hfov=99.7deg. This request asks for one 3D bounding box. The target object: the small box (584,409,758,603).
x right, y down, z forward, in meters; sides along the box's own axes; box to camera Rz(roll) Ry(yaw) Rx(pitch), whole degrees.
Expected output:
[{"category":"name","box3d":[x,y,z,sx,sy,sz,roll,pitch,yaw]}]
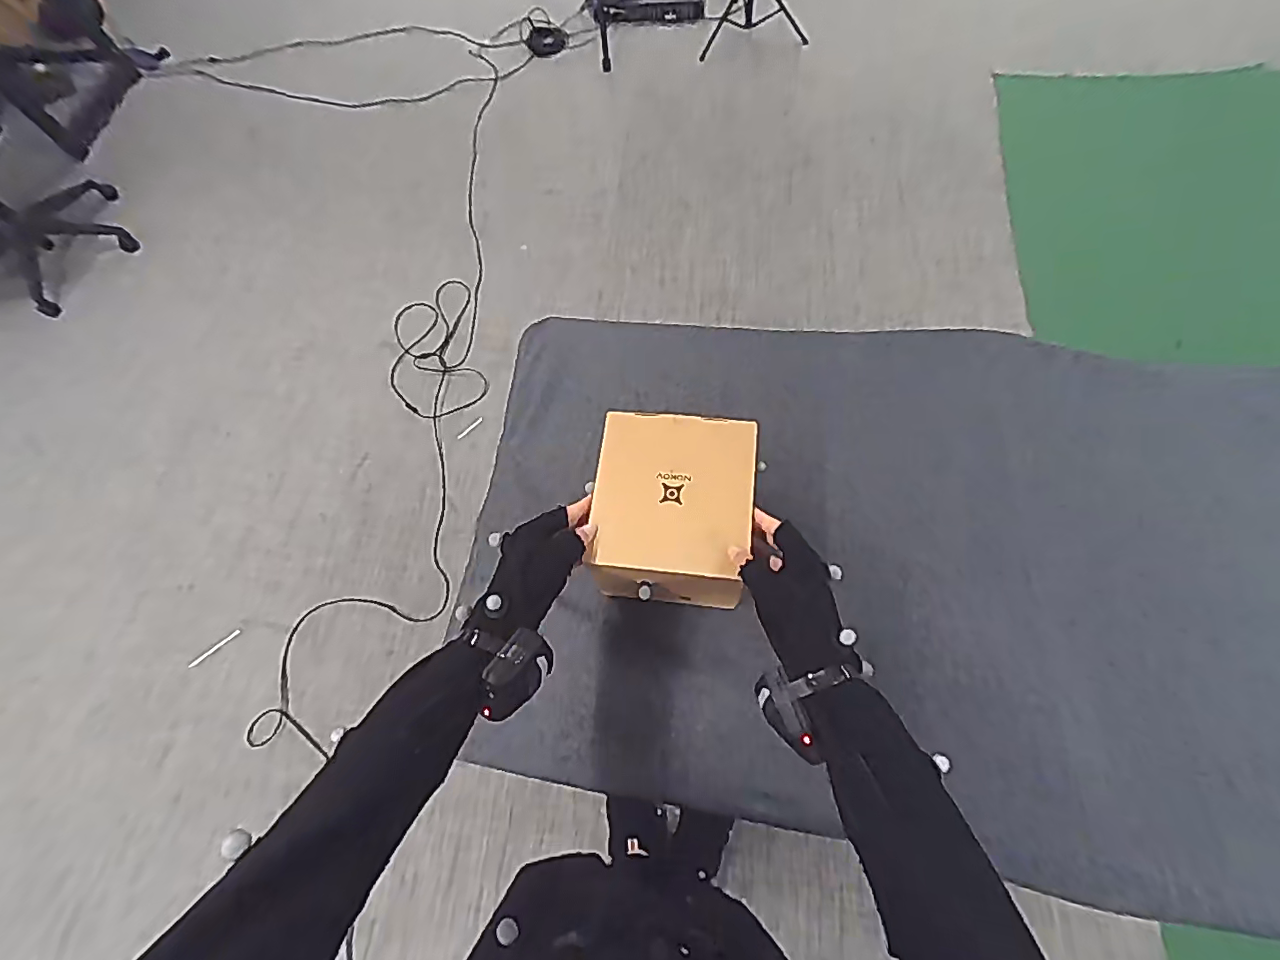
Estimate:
[{"category":"small box","box3d":[0.043,0.038,0.625,0.168,0.176,0.179,4,67,7]}]
